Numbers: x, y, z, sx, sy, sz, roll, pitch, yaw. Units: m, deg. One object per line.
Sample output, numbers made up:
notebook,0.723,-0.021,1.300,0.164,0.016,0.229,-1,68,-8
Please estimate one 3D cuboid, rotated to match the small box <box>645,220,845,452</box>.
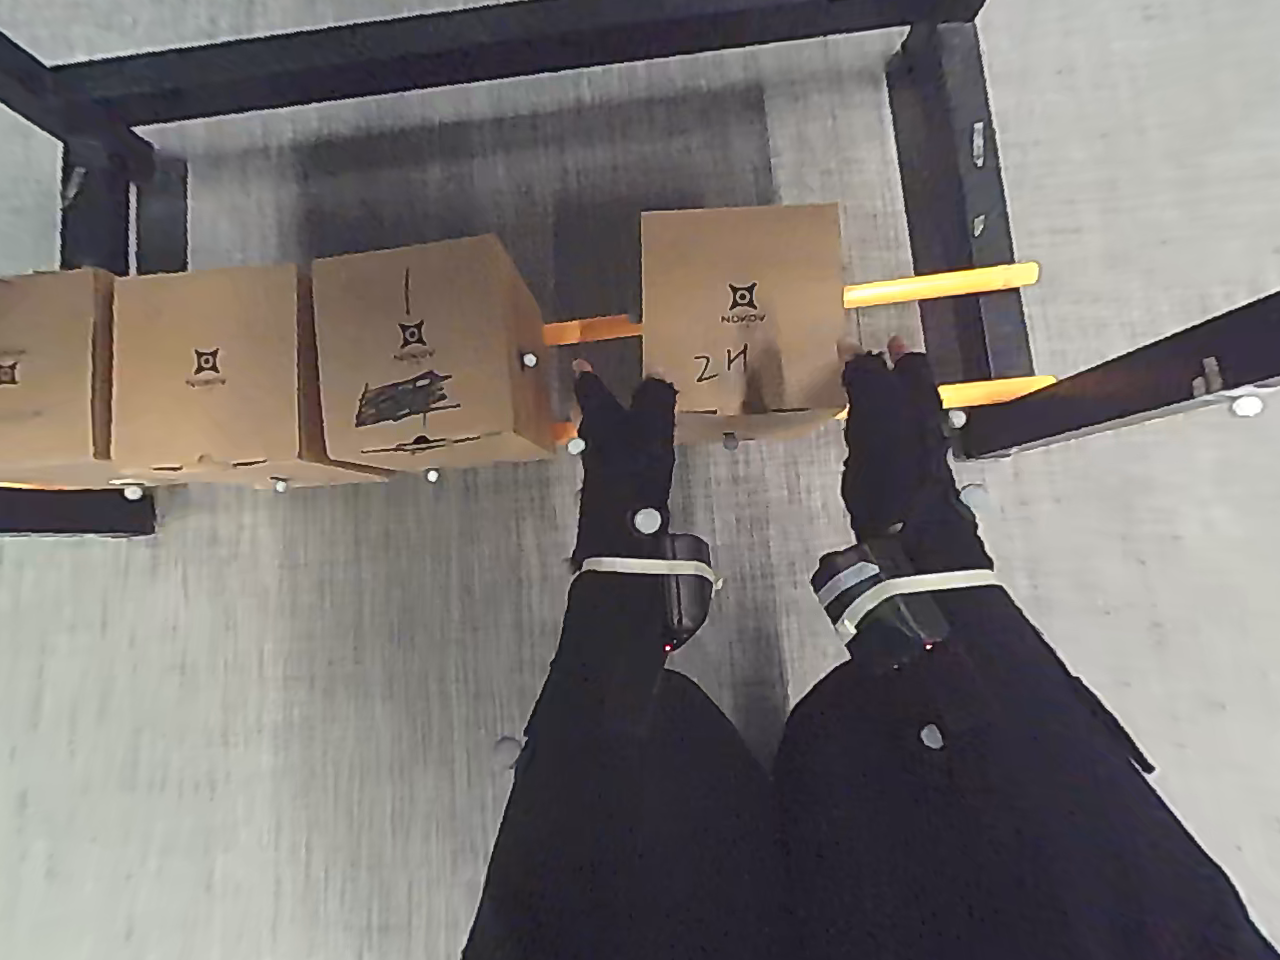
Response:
small box,0.090,-0.125,0.530,0.168,0.176,0.179,-1,86,4
